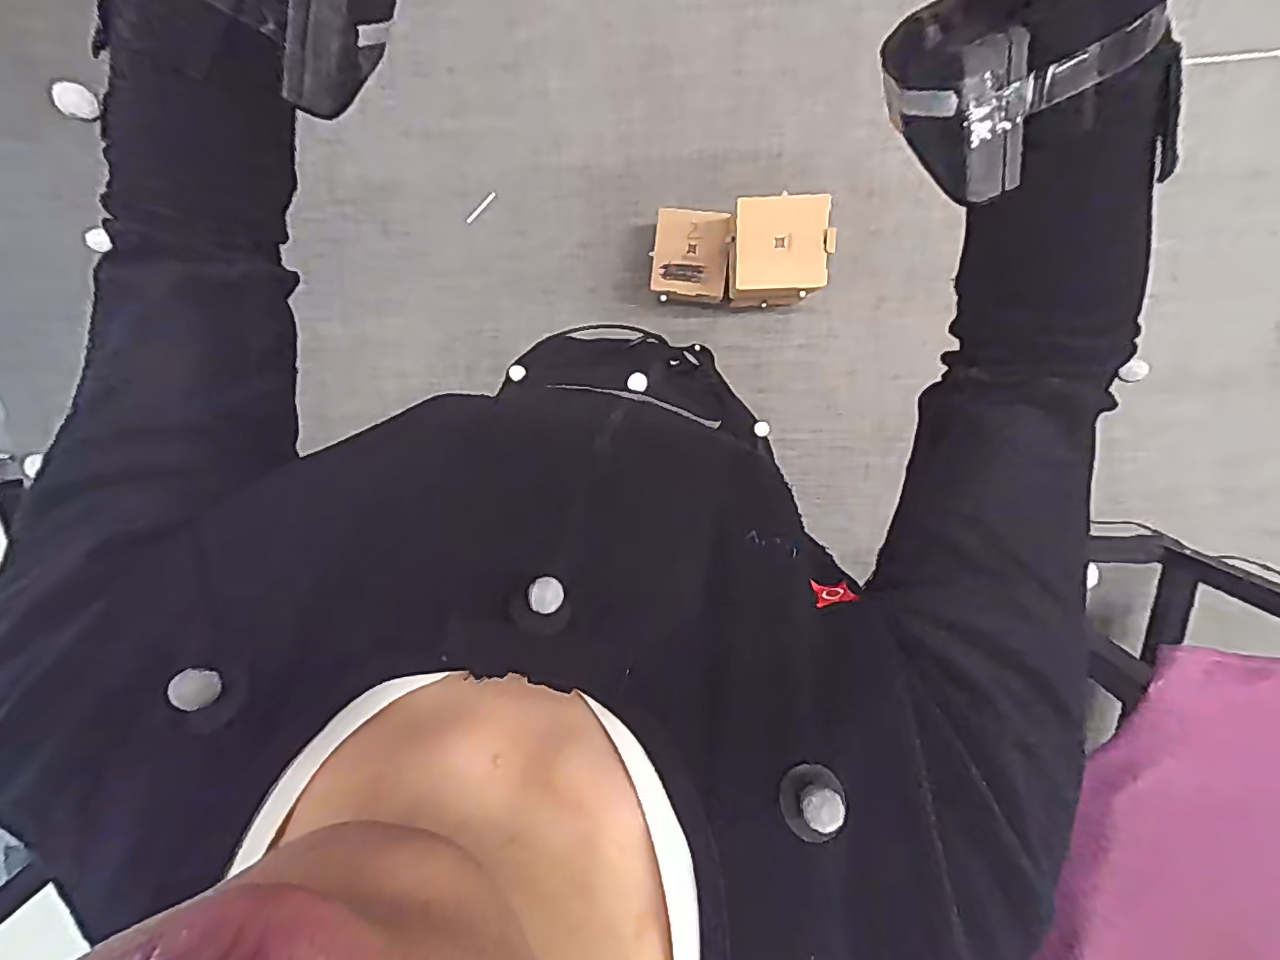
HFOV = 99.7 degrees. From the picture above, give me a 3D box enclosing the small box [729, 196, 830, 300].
[{"bbox_3d":[0.275,-0.464,1.102,0.179,0.176,0.168,-1,103,4],"label":"small box"}]
